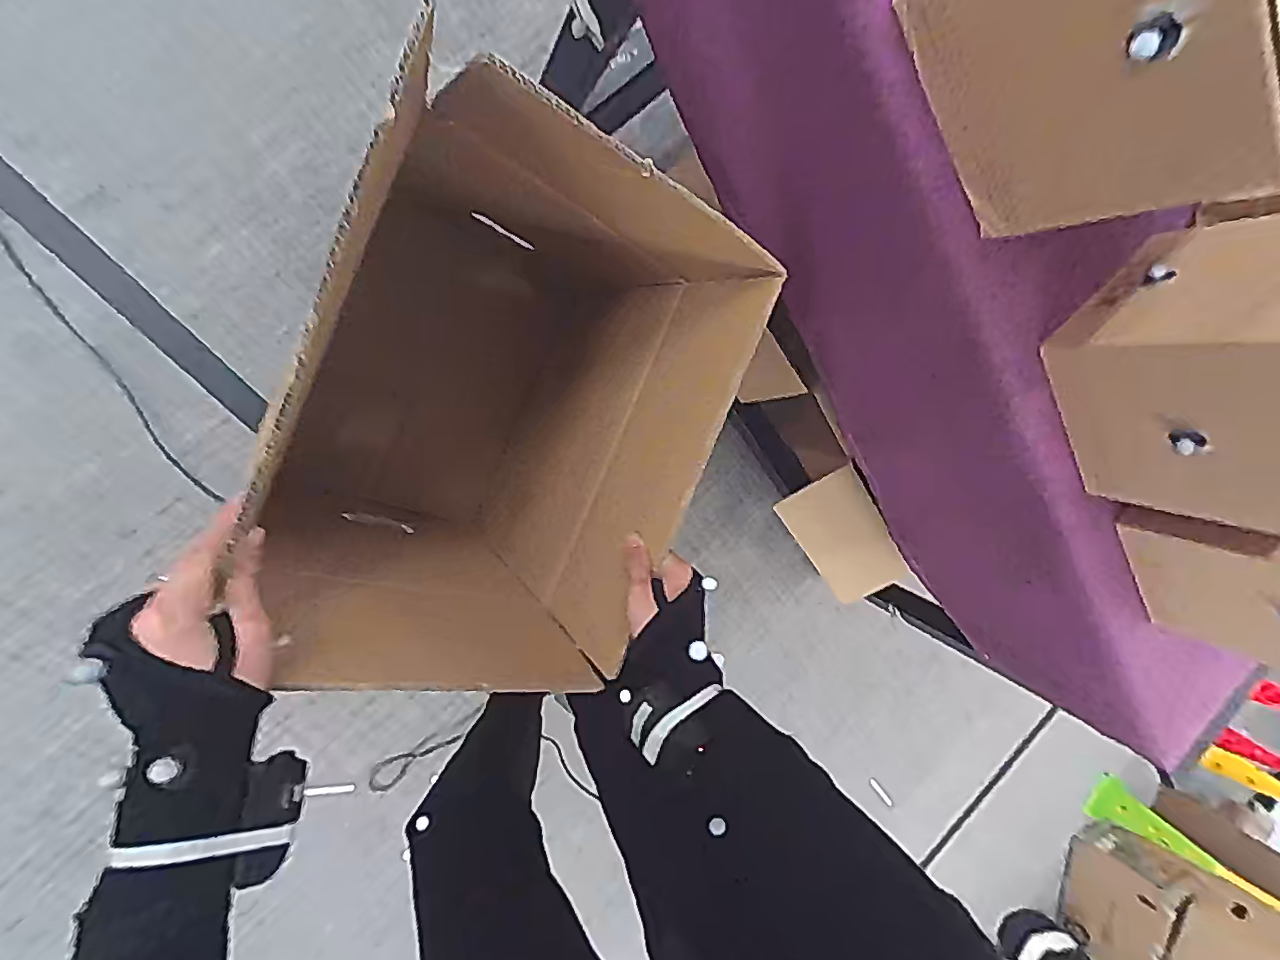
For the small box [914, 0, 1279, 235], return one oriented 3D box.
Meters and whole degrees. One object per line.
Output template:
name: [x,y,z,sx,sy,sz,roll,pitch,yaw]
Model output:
small box: [0.299,-0.273,0.312,0.168,0.176,0.179,-43,115,-7]
